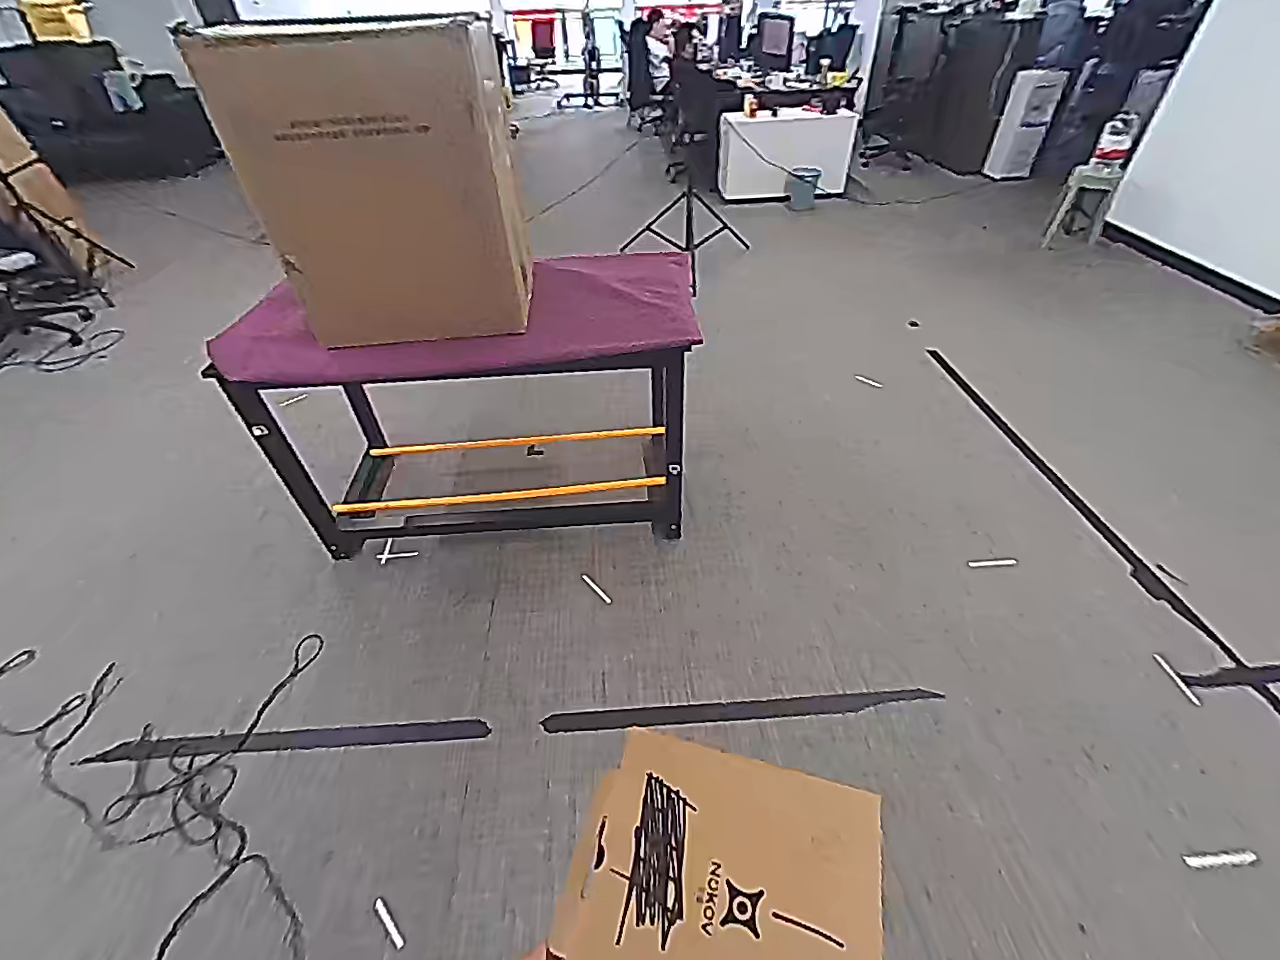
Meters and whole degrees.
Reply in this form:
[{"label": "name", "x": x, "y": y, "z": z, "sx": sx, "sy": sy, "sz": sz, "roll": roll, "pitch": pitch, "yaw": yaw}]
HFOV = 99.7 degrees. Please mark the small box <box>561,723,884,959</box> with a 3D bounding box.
[{"label": "small box", "x": 0.059, "y": 0.302, "z": 0.380, "sx": 0.179, "sy": 0.176, "sz": 0.168, "roll": 9, "pitch": 48, "yaw": 13}]
